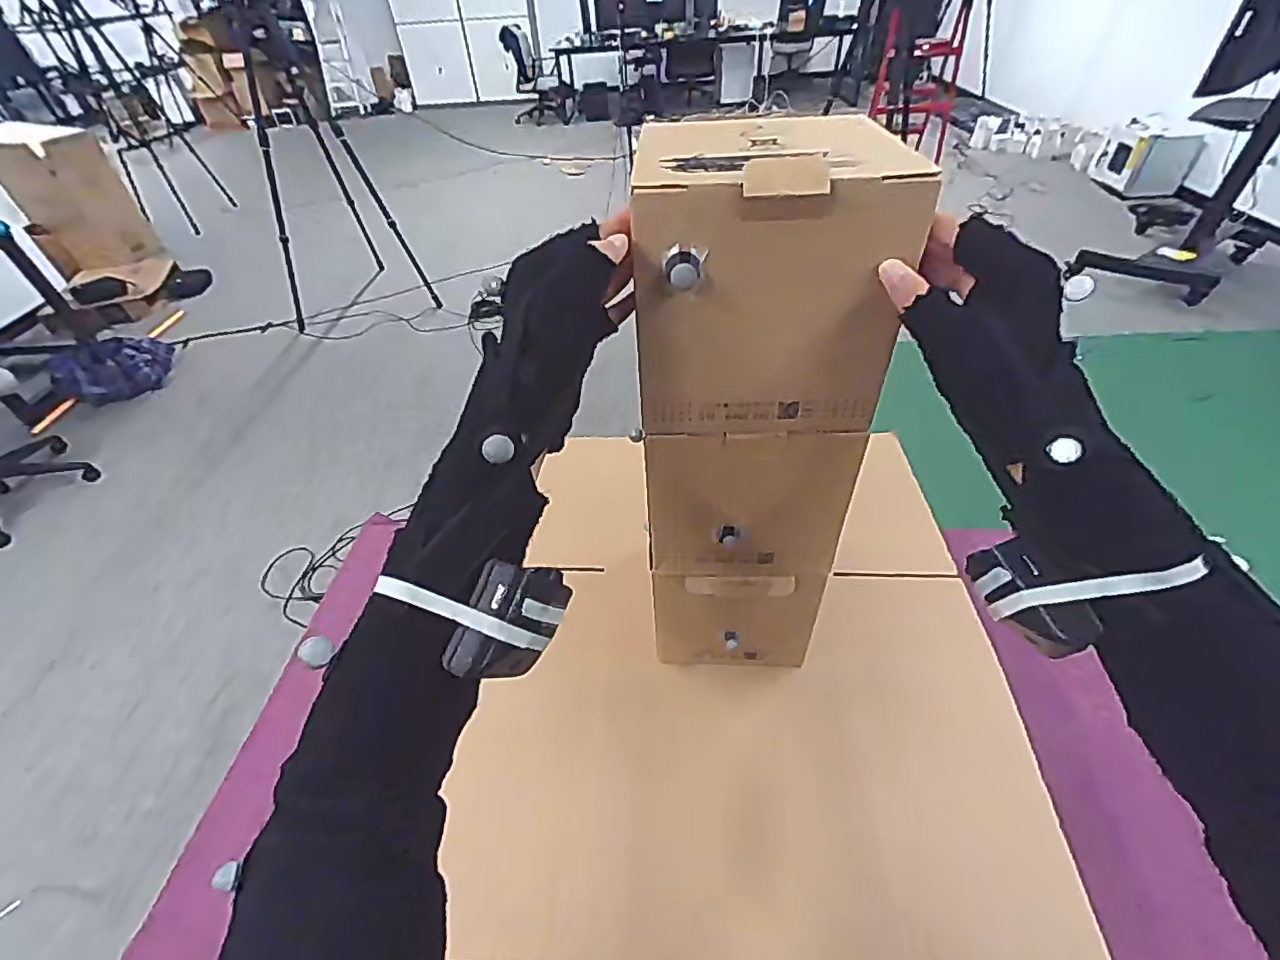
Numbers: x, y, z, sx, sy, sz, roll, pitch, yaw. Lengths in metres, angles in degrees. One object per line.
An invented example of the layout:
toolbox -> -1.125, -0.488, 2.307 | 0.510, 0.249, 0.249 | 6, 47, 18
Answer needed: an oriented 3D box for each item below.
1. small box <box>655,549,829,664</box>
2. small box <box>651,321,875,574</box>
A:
small box -> 0.104, 0.086, 0.621 | 0.168, 0.176, 0.179 | 1, 43, 5
small box -> 0.096, -0.034, 0.510 | 0.168, 0.176, 0.179 | 0, 43, 3
